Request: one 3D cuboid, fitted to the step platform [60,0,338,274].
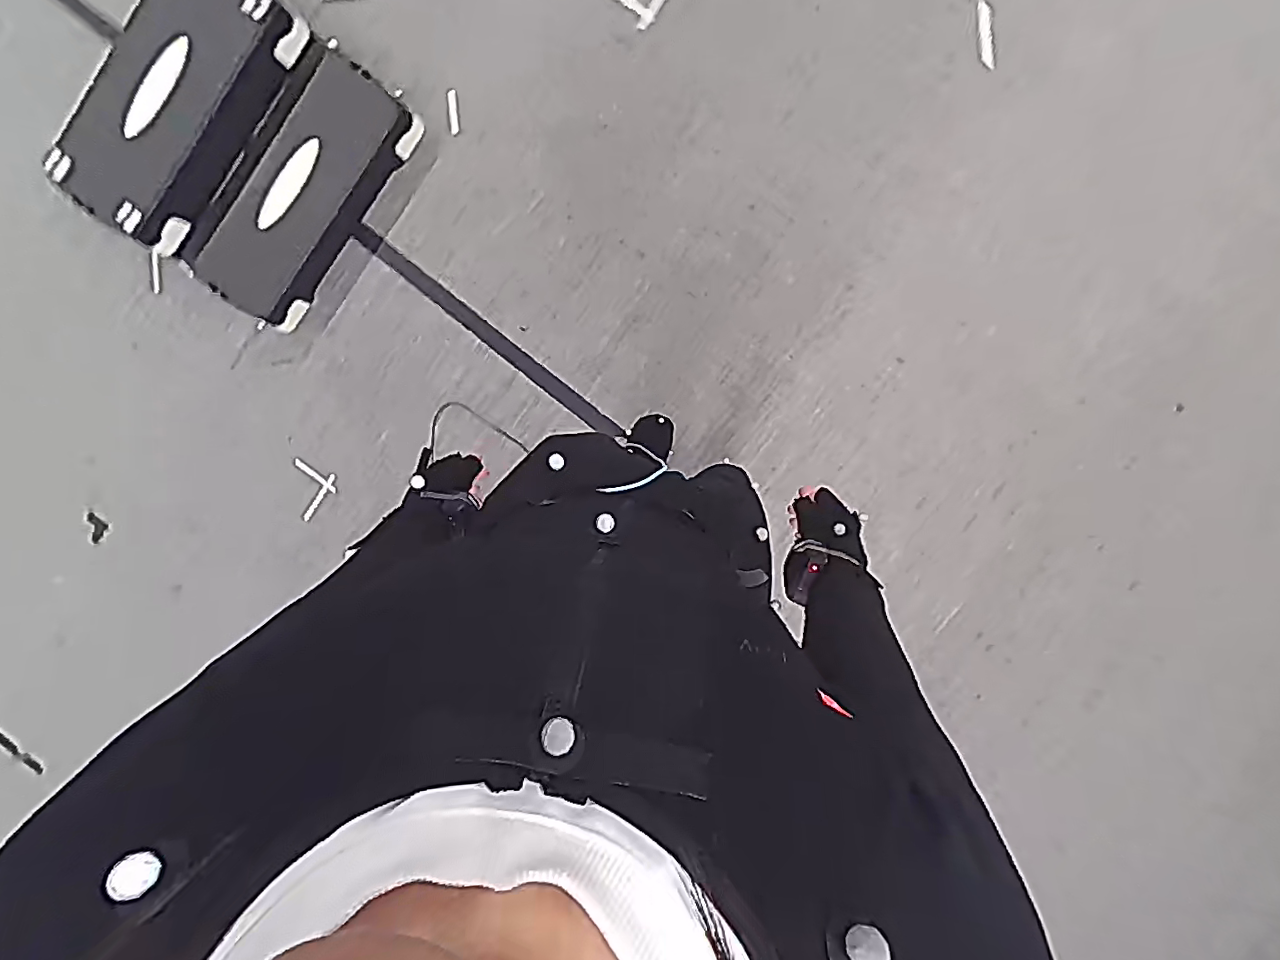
[{"bbox_3d":[-1.070,-0.869,1.325,0.286,0.204,0.684,37,95,-1],"label":"step platform"}]
